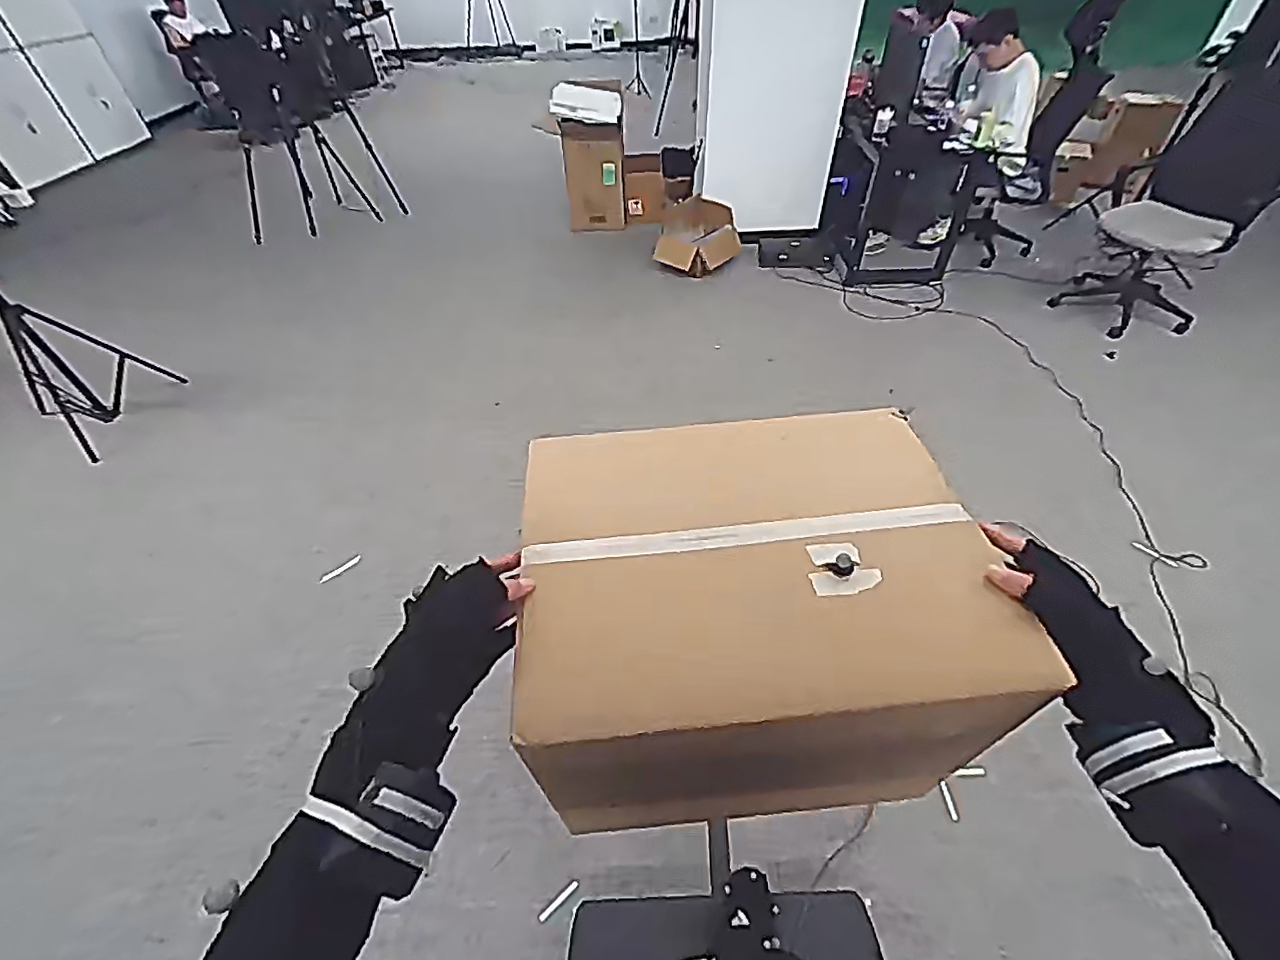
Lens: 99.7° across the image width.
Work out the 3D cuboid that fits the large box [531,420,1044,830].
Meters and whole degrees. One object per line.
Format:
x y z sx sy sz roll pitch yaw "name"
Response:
0.103 0.162 0.611 0.408 0.320 0.320 -5 47 -3 "large box"
